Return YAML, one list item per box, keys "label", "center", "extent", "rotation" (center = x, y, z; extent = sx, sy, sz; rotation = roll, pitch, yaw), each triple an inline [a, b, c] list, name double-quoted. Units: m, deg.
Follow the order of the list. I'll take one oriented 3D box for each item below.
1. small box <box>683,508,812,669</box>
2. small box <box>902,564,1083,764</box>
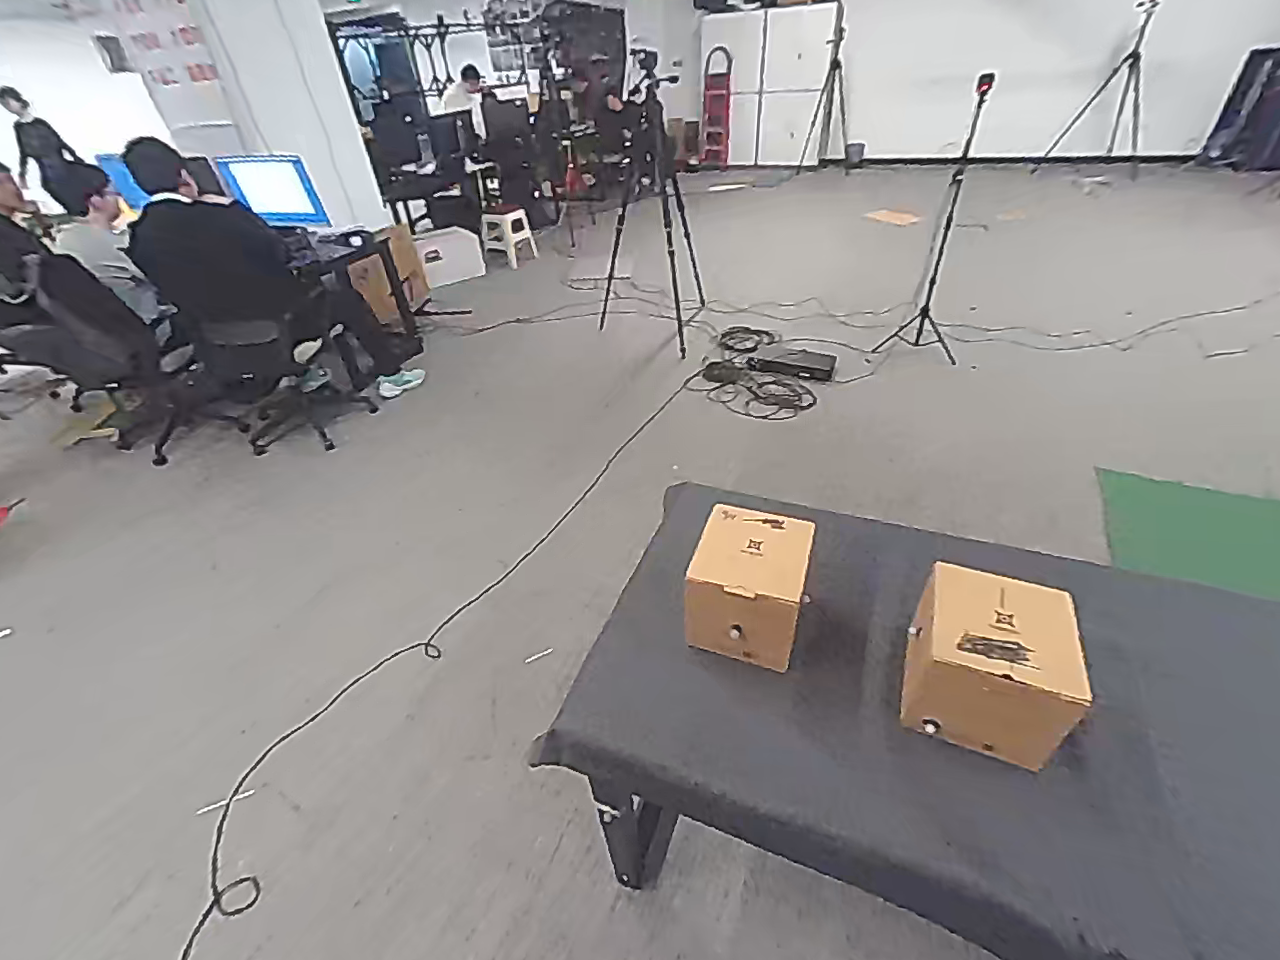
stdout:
- label: "small box"
  center: [0.177, 0.176, 0.881]
  extent: [0.168, 0.176, 0.179]
  rotation: [11, 41, 19]
- label: "small box"
  center: [0.471, 0.252, 0.747]
  extent: [0.168, 0.176, 0.179]
  rotation: [13, 40, 22]
